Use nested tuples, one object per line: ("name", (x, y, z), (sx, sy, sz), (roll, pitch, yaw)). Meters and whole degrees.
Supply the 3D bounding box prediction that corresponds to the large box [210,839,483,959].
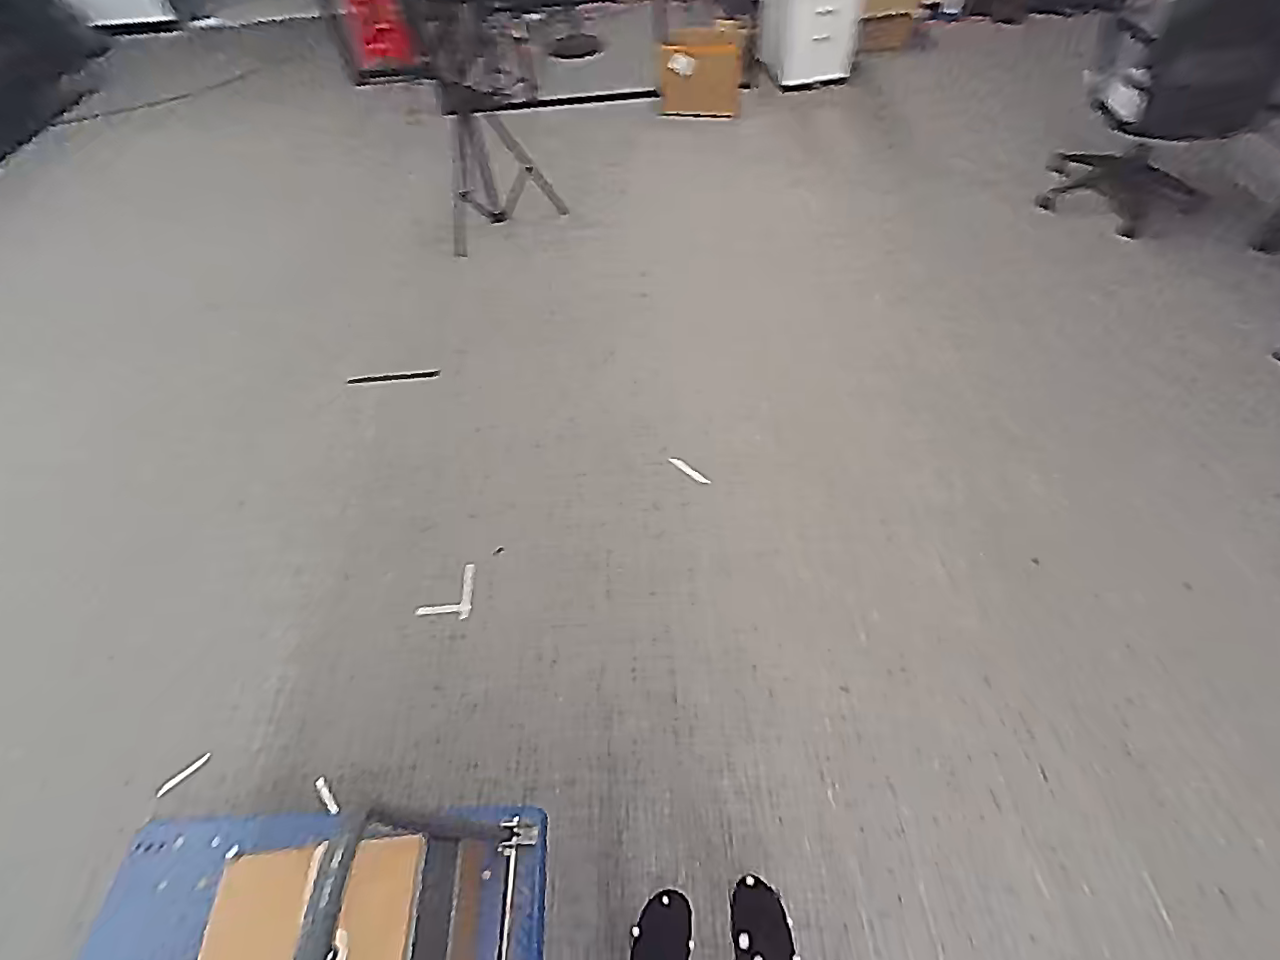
("large box", (-0.454, 0.832, 0.853), (0.320, 0.320, 0.408), (-6, 53, -1))
